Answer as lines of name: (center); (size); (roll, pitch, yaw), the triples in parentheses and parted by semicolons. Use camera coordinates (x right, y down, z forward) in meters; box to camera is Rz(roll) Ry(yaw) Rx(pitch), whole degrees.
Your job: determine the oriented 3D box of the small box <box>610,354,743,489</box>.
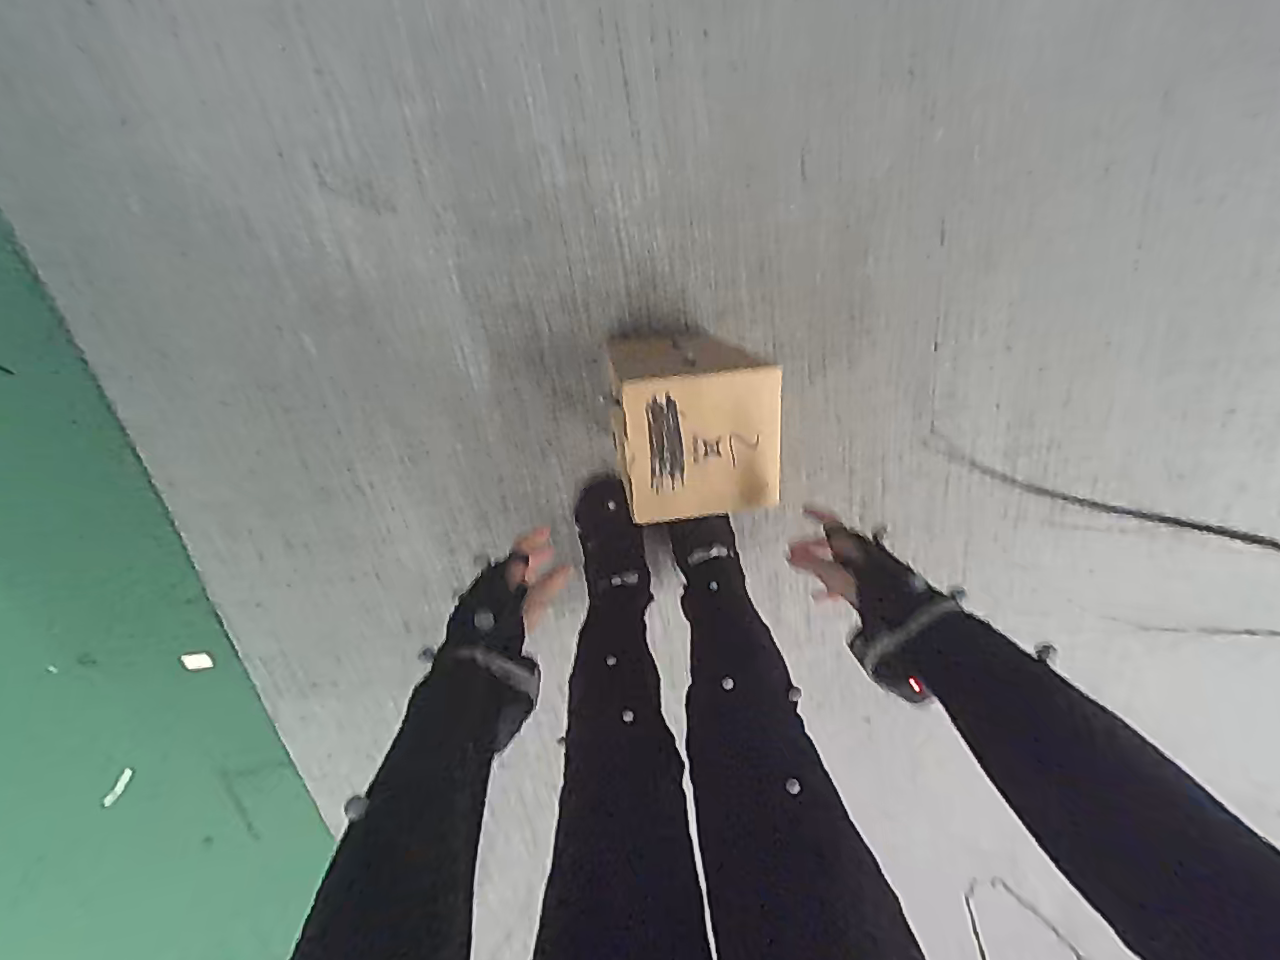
small box: (0.050, -0.097, 0.832); (0.179, 0.176, 0.168); (-4, 110, -4)
